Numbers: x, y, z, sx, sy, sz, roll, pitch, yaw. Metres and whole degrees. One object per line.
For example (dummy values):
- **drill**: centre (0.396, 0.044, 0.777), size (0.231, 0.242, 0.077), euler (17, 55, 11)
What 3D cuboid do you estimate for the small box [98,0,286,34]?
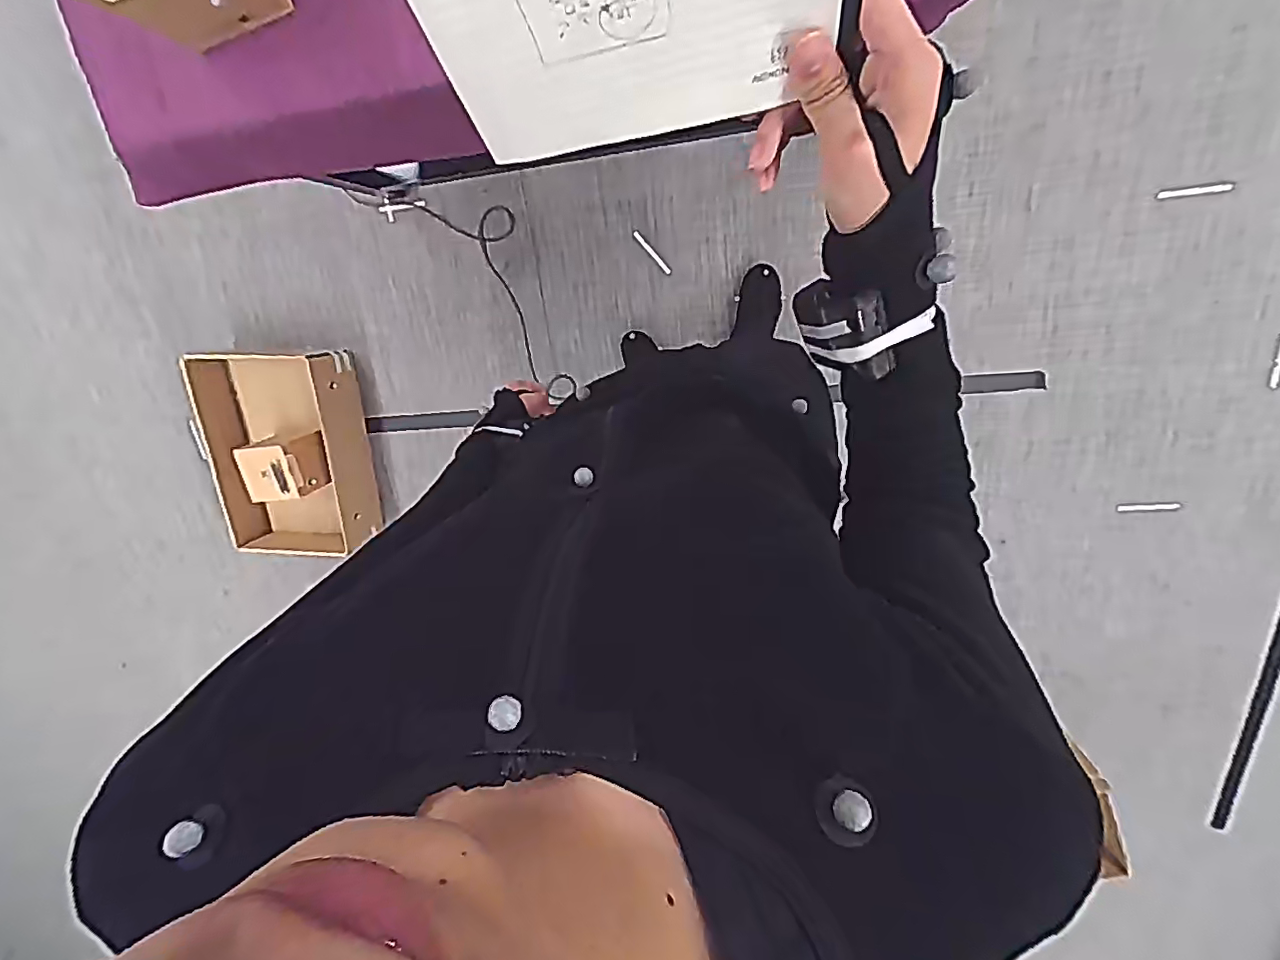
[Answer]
- **small box**: centre (-0.563, -0.665, 0.628), size (0.168, 0.176, 0.179), euler (-11, 108, 11)
